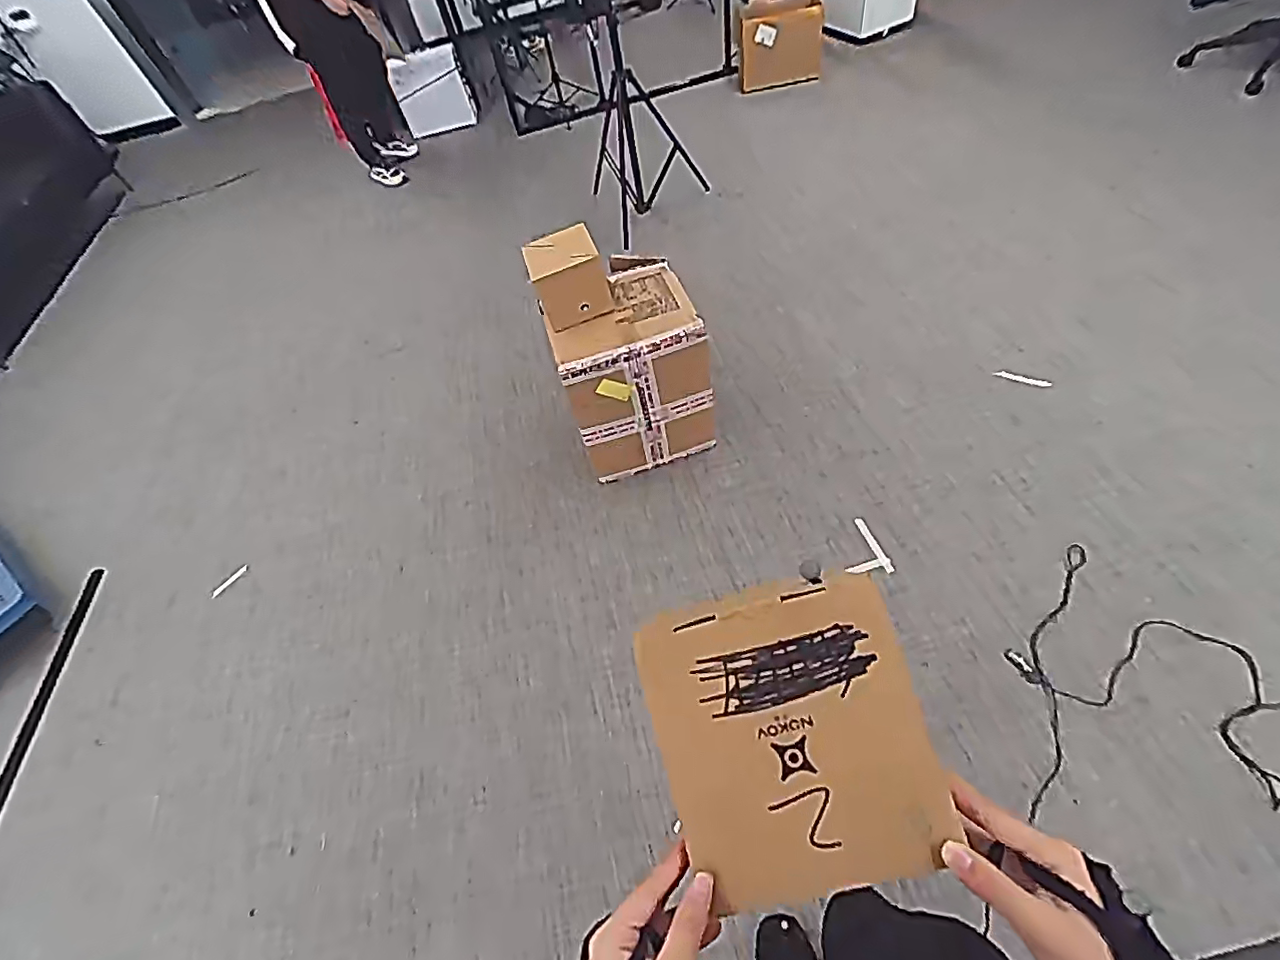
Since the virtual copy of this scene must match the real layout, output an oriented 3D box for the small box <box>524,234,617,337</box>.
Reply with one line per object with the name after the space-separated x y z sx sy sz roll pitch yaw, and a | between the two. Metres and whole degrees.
-0.181 -0.515 1.420 0.179 0.176 0.168 -21 54 0 | small box
